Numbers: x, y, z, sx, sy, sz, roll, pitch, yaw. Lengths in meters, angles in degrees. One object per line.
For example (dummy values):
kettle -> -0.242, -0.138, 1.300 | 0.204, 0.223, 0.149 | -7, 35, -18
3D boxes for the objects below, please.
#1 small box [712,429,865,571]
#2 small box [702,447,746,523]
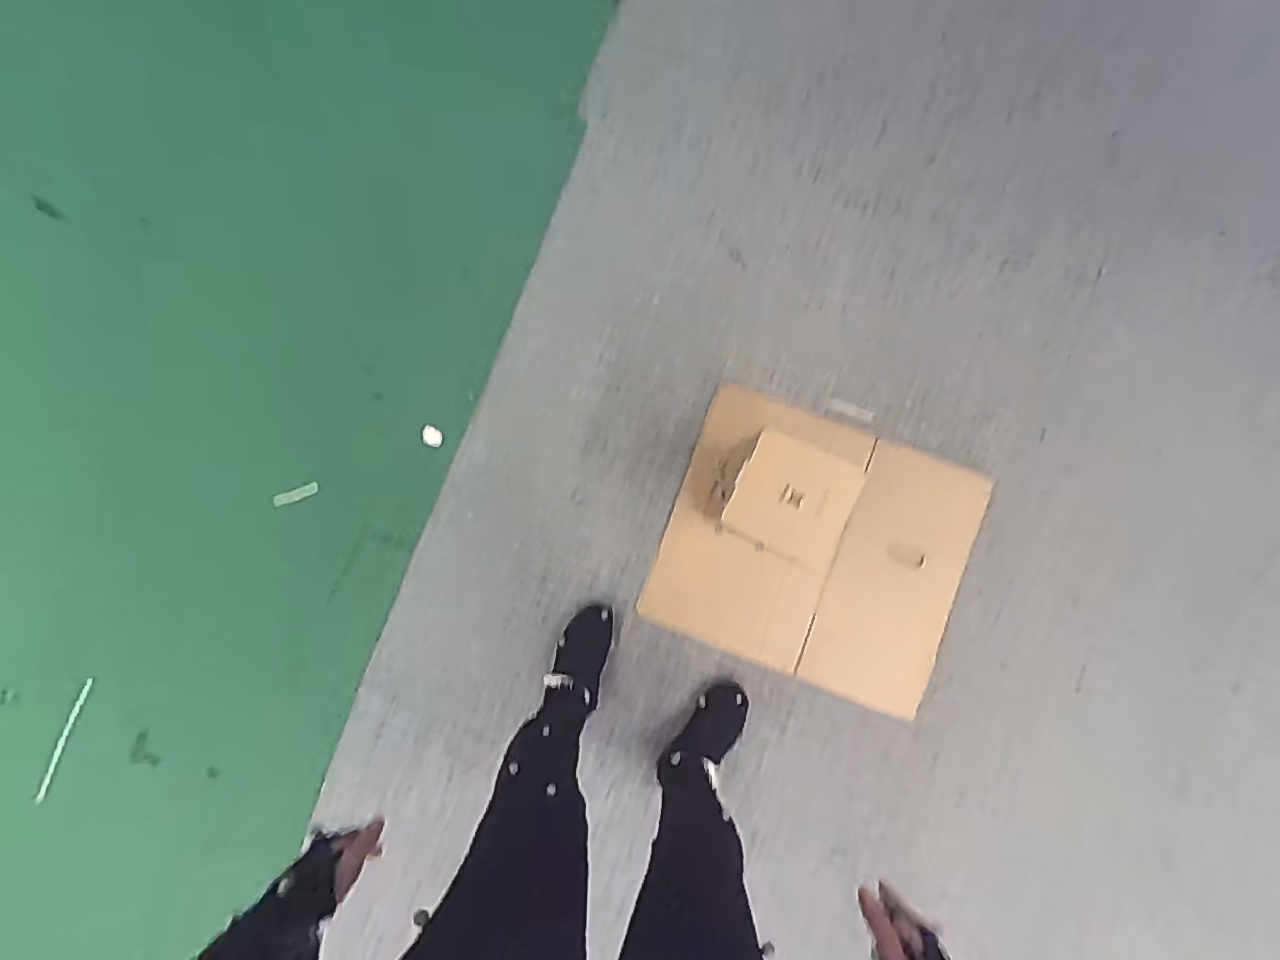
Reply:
small box -> 0.234, 0.036, 0.903 | 0.179, 0.176, 0.168 | 27, 88, 4
small box -> 0.252, 0.043, 1.230 | 0.179, 0.176, 0.168 | 25, 87, 3
